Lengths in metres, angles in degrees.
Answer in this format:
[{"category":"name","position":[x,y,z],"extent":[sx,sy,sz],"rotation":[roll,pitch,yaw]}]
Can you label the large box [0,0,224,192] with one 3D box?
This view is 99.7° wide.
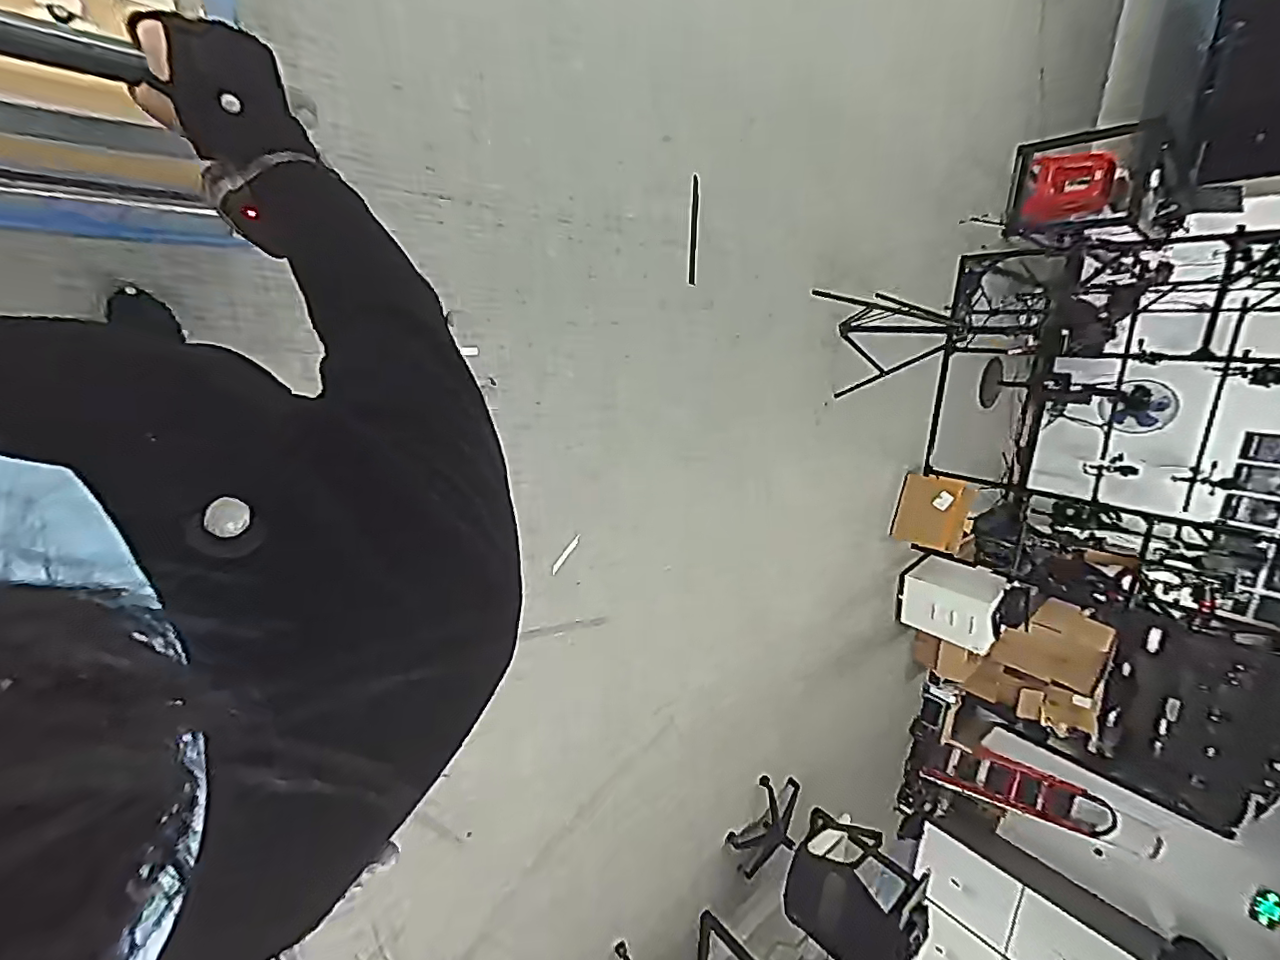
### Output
[{"category":"large box","position":[-0.819,-0.589,0.683],"extent":[0.408,0.320,0.320],"rotation":[-13,111,-40]}]
